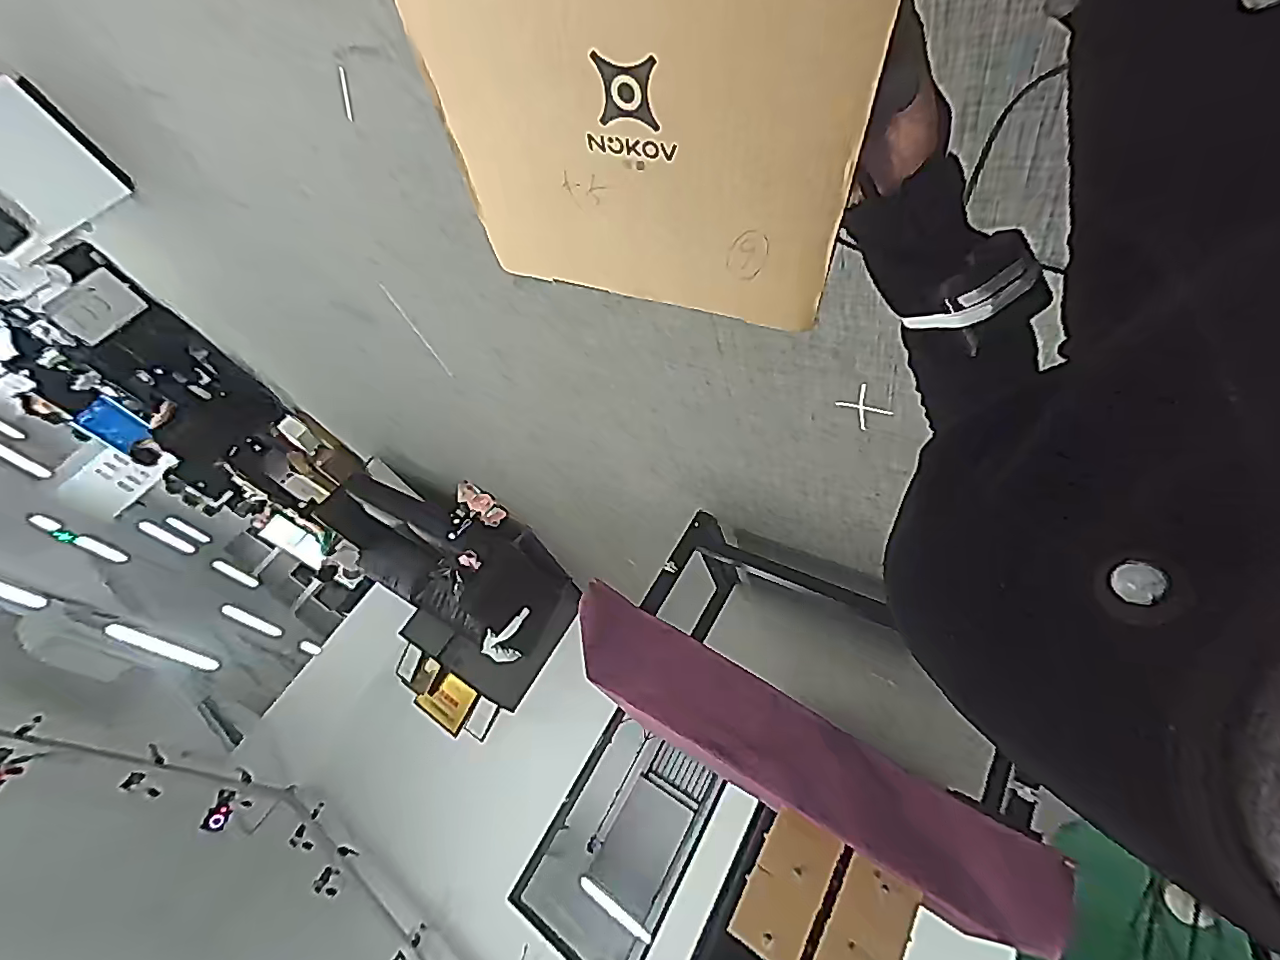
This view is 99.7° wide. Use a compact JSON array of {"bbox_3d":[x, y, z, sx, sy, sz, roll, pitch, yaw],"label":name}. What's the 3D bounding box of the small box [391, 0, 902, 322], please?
[{"bbox_3d":[0.020,-0.202,0.222,0.168,0.176,0.179,16,154,12],"label":"small box"}]
